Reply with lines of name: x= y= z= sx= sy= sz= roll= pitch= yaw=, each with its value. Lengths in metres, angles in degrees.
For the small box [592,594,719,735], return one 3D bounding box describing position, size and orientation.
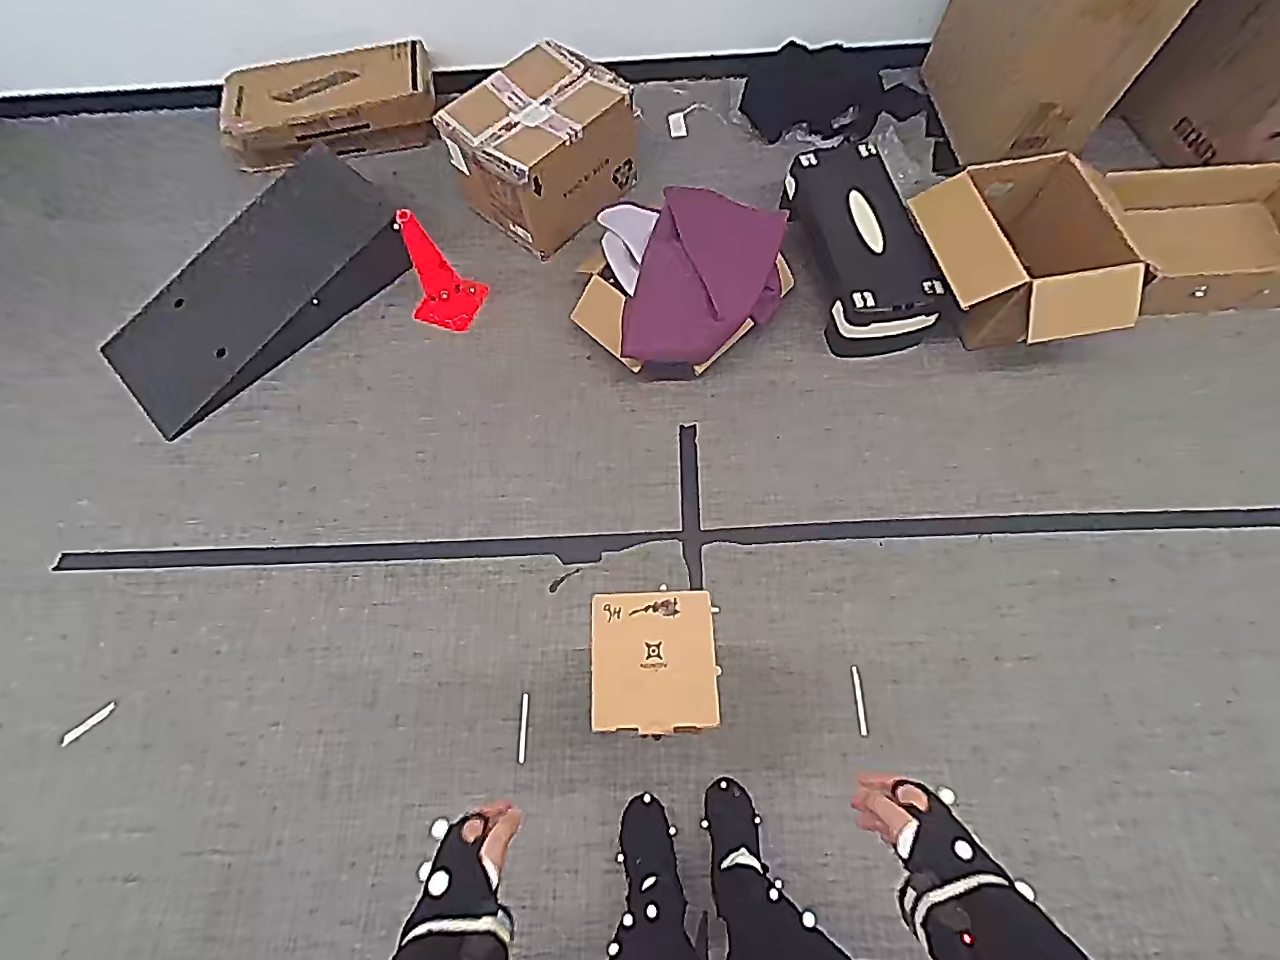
small box: x=0.024 y=0.267 z=0.787 sx=0.168 sy=0.176 sz=0.179 roll=-2 pitch=69 yaw=2
